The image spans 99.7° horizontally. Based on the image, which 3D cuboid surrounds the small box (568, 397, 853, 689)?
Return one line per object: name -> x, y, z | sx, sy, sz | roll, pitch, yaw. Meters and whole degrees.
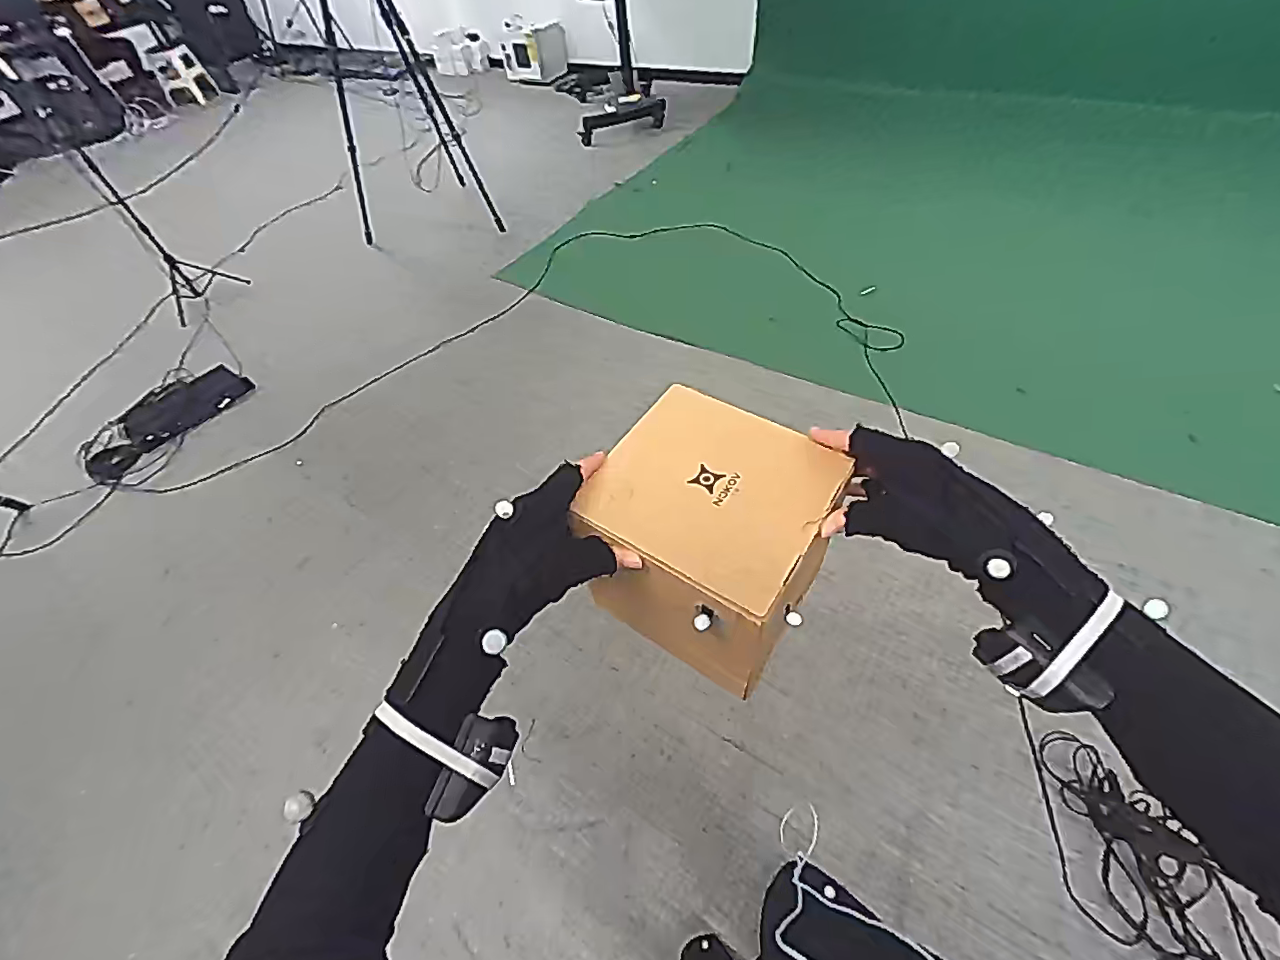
small box -> 0.062, 0.060, 0.495 | 0.179, 0.176, 0.168 | 27, 58, 24
